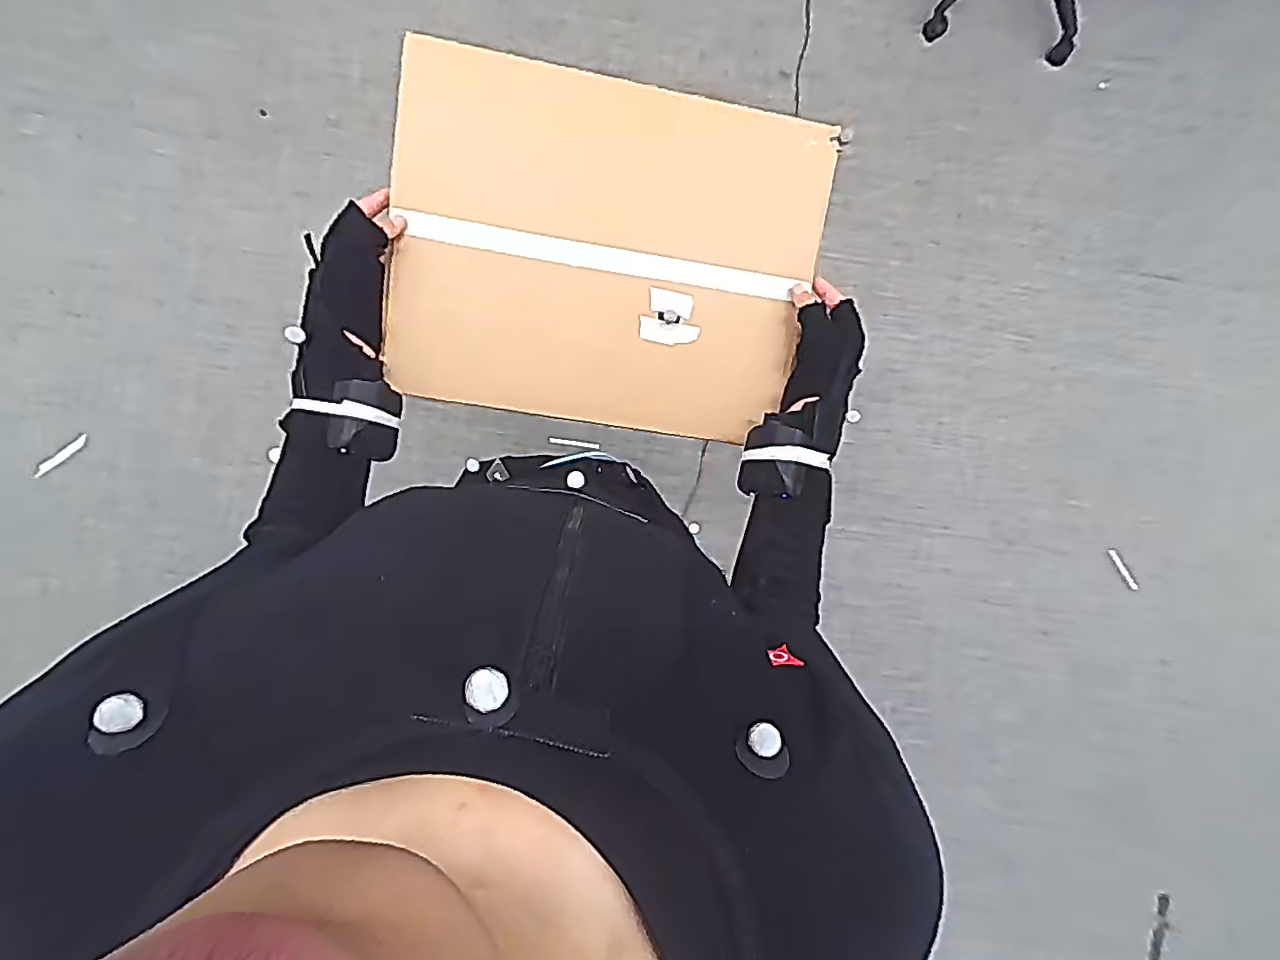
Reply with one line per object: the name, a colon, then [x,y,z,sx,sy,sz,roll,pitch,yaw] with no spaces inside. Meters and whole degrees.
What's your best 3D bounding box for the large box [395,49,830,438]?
large box: [-0.043,-0.243,0.679,0.408,0.320,0.320,8,100,-7]
